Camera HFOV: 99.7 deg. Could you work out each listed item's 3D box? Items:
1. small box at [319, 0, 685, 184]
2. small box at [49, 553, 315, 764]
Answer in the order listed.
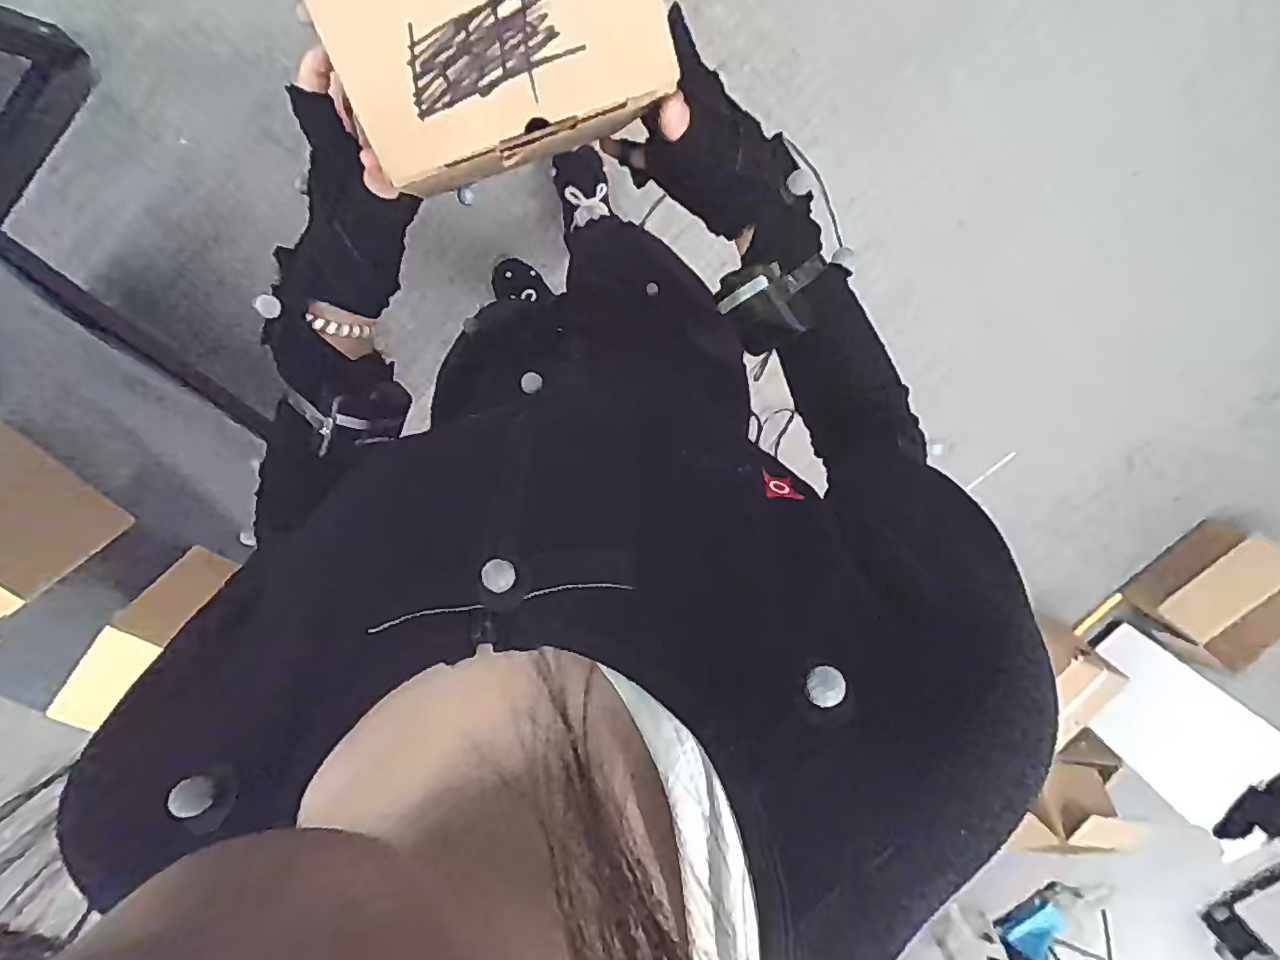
[{"bbox_3d":[-0.092,-0.290,0.316,0.168,0.176,0.179,-22,118,-5],"label":"small box"},{"bbox_3d":[-0.573,0.221,0.704,0.179,0.176,0.168,37,105,-24],"label":"small box"}]
